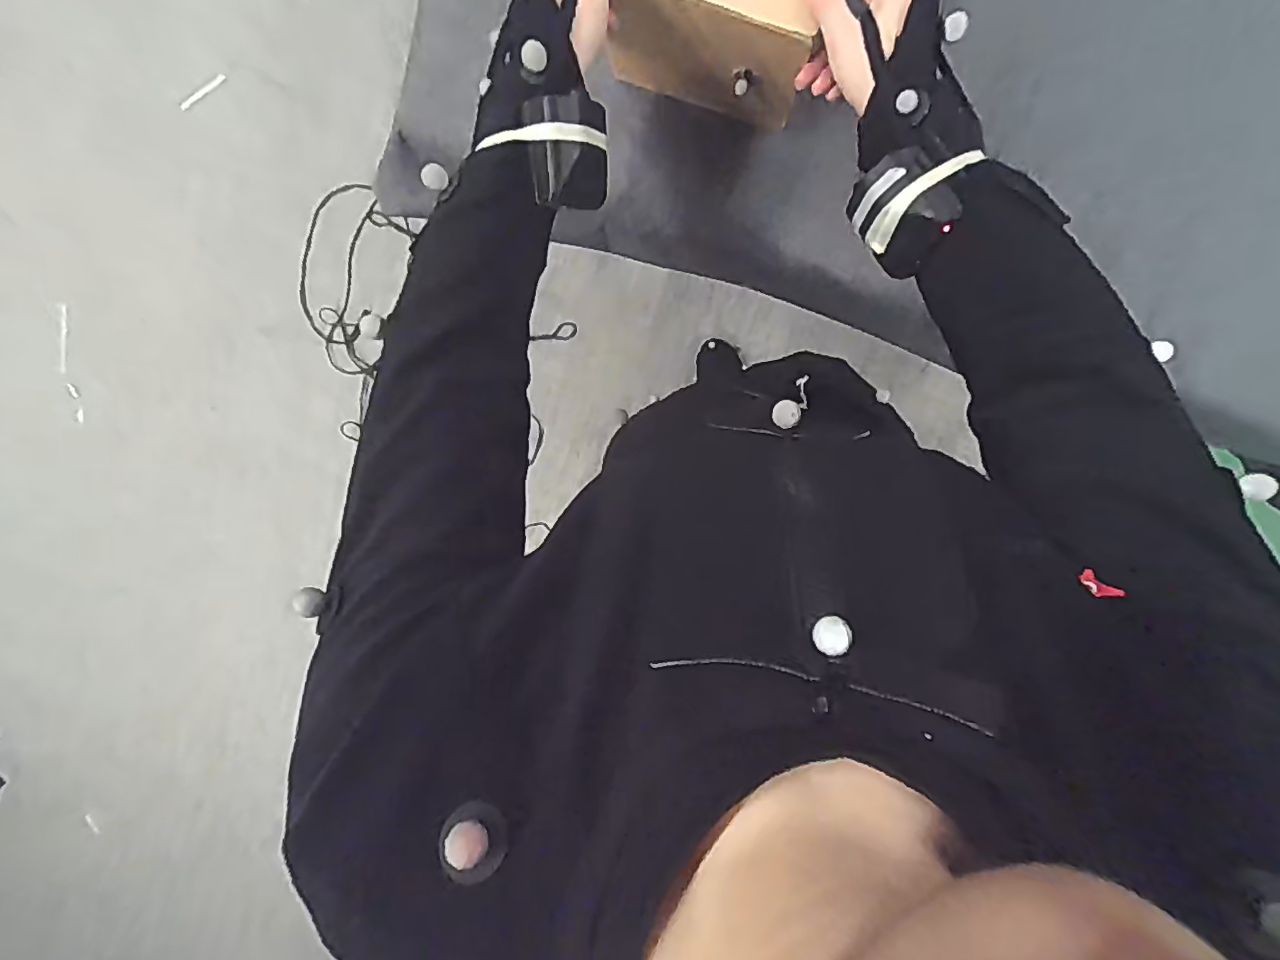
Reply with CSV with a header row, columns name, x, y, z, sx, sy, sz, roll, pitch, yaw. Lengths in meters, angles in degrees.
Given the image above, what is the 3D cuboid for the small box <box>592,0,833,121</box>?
name,x,y,z,sx,sy,sz,roll,pitch,yaw
small box,0.072,-0.423,0.432,0.179,0.176,0.168,18,103,2
